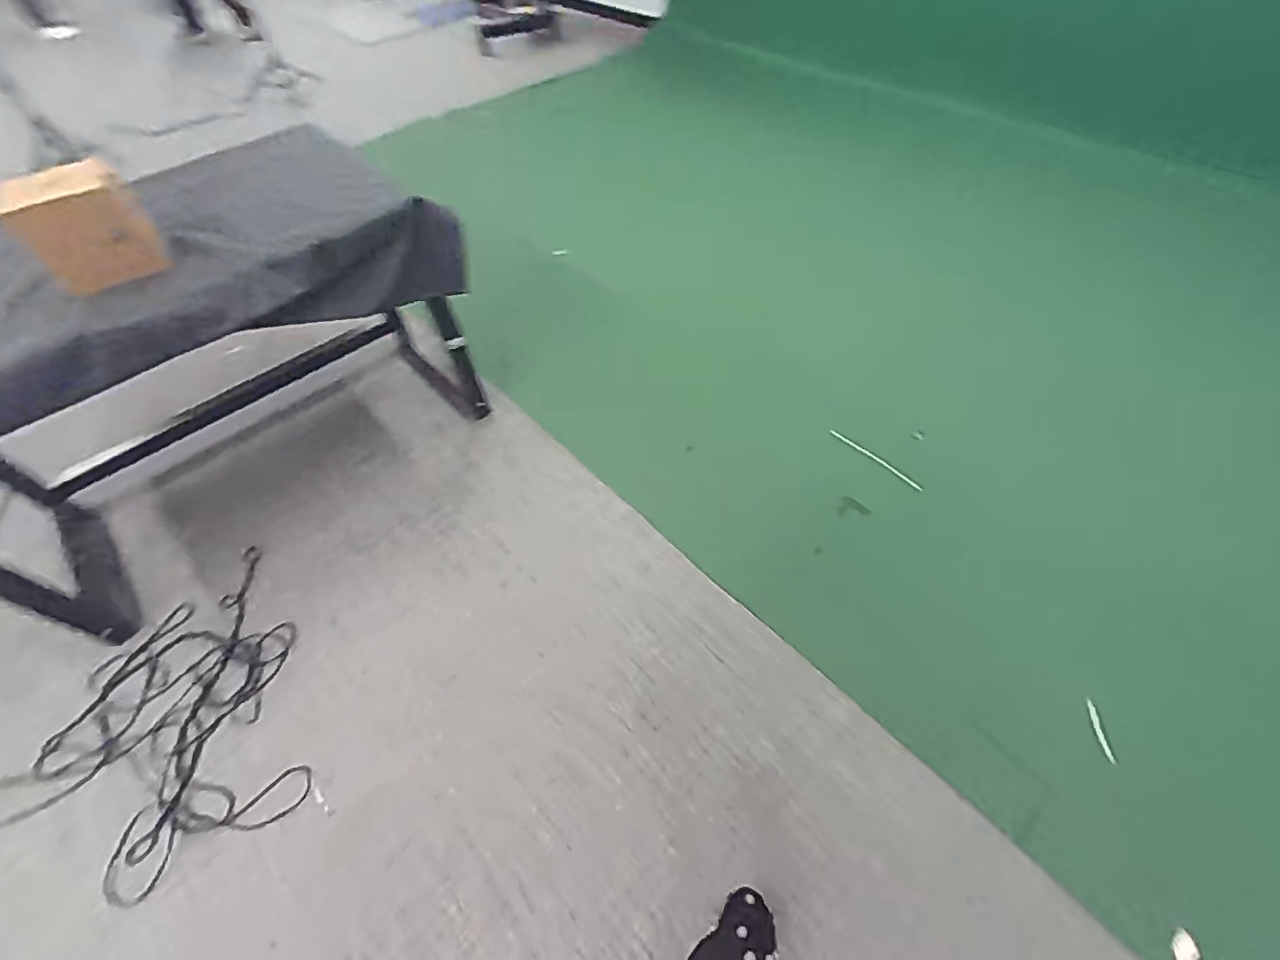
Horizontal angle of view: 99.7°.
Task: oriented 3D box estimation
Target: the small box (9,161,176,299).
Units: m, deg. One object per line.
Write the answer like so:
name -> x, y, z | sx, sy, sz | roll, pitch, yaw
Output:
small box -> -1.064, -0.492, 1.068 | 0.179, 0.176, 0.168 | -31, 57, -18
